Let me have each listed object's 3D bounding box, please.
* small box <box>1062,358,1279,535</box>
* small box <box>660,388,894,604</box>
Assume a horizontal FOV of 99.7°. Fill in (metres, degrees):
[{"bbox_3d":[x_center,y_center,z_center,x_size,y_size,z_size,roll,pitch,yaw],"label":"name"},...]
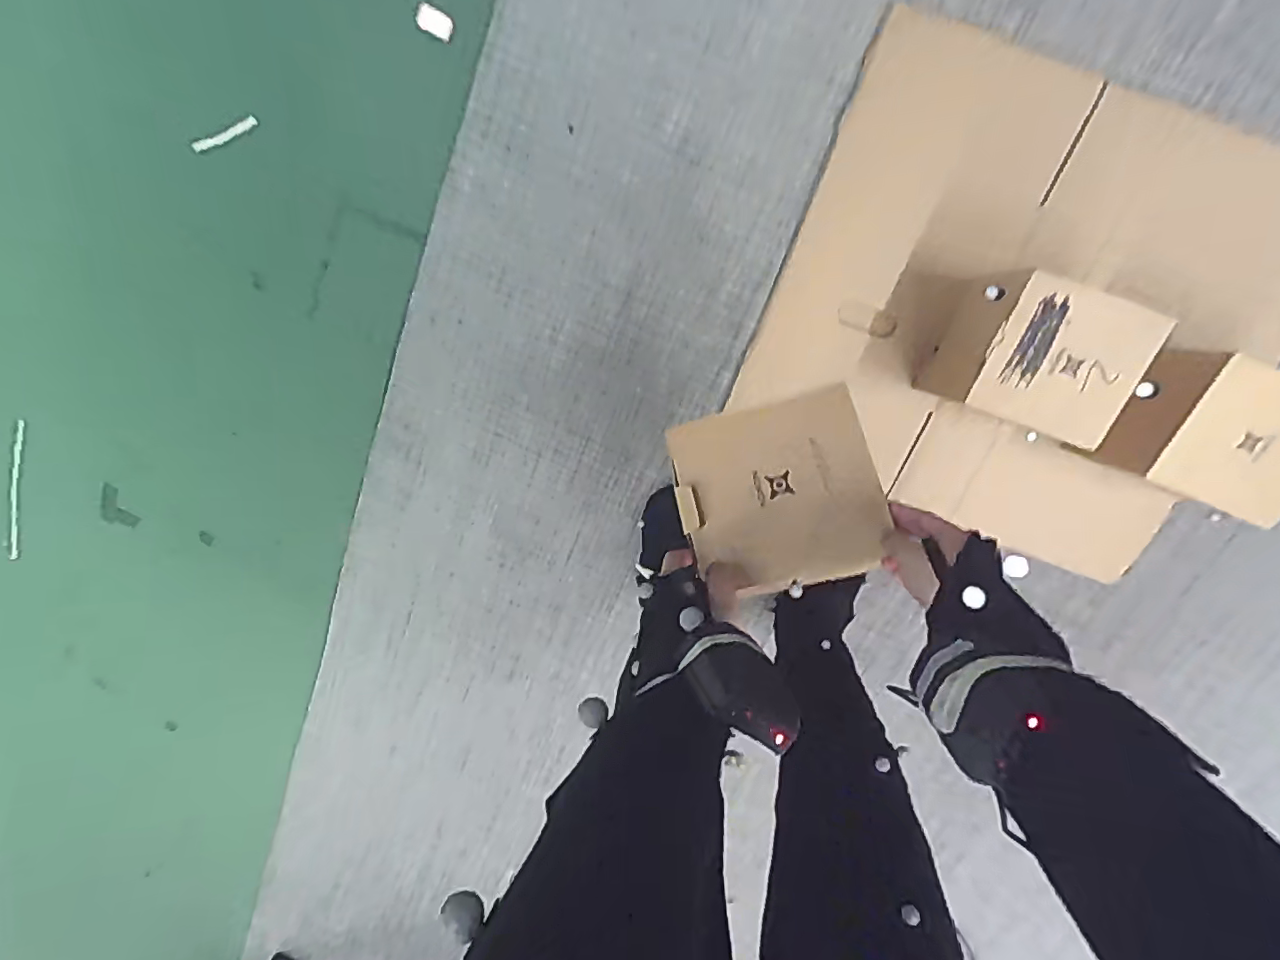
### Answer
[{"bbox_3d":[0.728,-0.055,0.721,0.179,0.176,0.168,22,107,-1],"label":"small box"},{"bbox_3d":[0.132,0.031,0.560,0.179,0.176,0.168,-14,74,7],"label":"small box"}]
